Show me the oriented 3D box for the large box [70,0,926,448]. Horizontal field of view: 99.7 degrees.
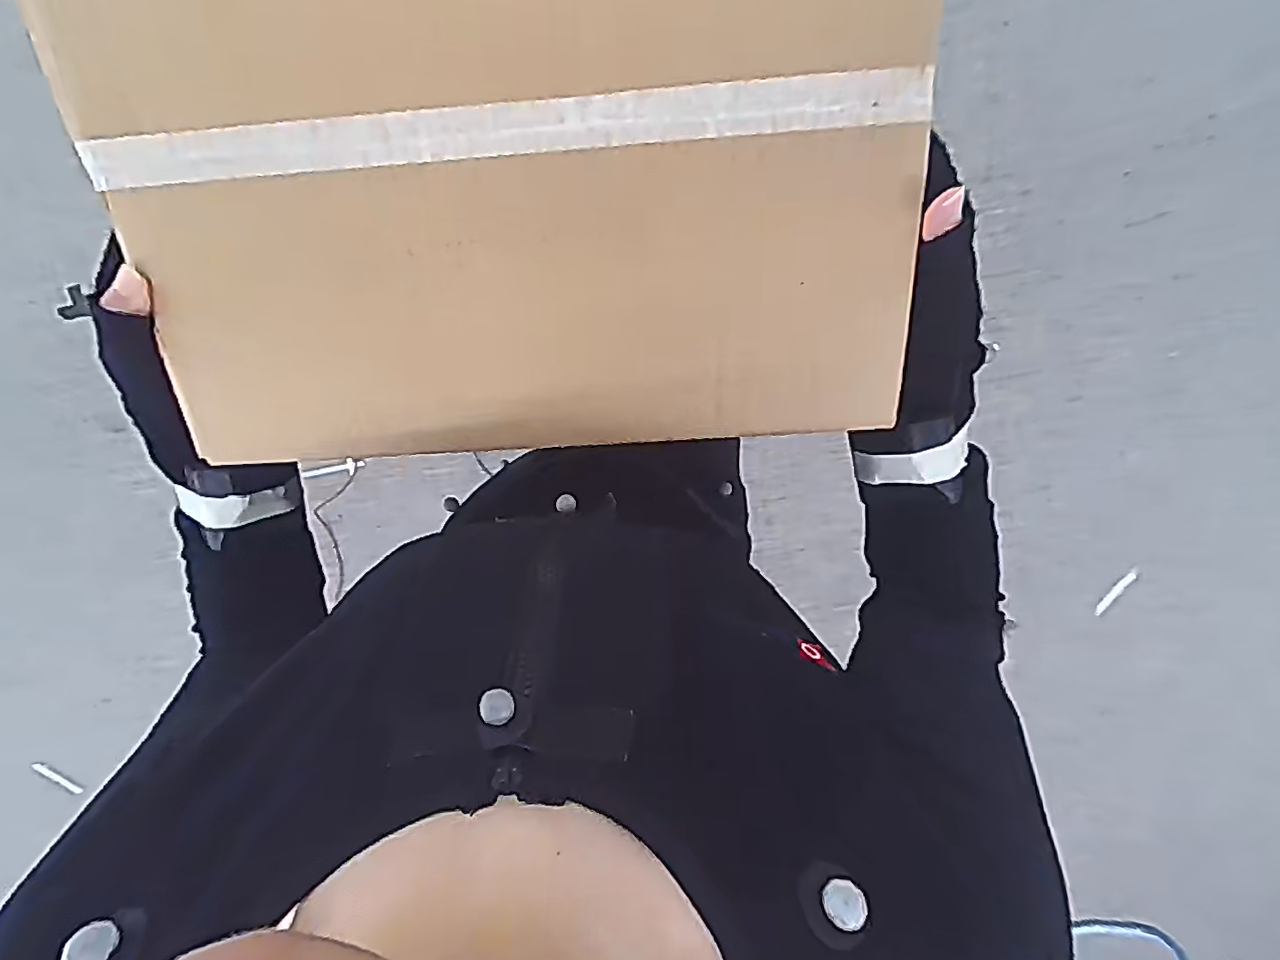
[{"bbox_3d":[-0.063,-0.227,0.406,0.408,0.320,0.320,-3,112,2],"label":"large box"}]
